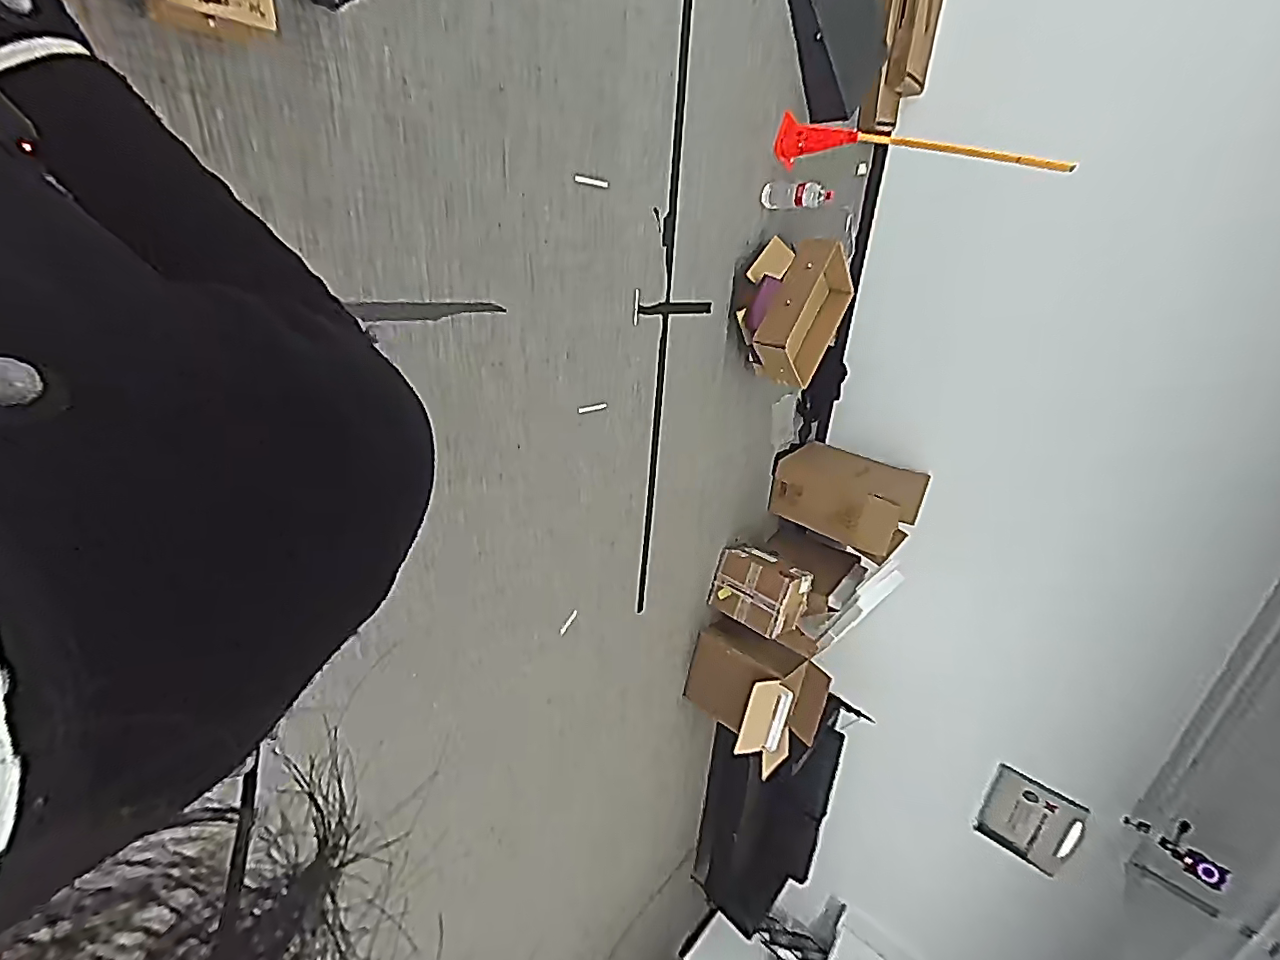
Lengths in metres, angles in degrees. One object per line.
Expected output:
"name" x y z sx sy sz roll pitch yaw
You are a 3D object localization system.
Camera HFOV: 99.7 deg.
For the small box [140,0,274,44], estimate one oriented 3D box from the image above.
"small box" -0.785 -0.916 0.959 0.168 0.176 0.179 -21 123 -44
